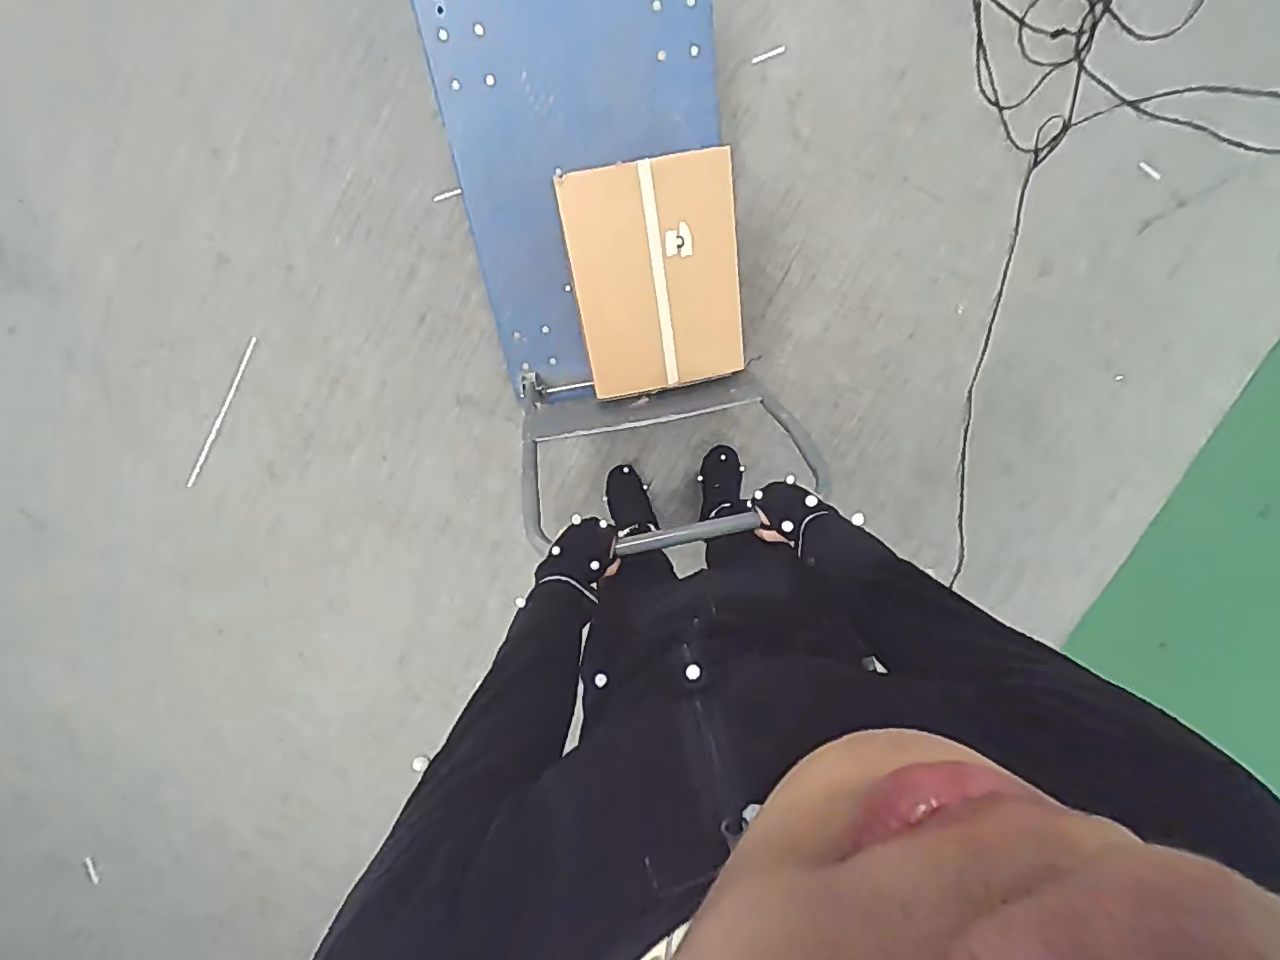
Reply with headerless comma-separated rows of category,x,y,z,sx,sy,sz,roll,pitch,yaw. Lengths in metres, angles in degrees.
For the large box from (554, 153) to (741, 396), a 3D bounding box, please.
large box,0.011,-0.440,1.174,0.320,0.320,0.408,-12,117,-4
